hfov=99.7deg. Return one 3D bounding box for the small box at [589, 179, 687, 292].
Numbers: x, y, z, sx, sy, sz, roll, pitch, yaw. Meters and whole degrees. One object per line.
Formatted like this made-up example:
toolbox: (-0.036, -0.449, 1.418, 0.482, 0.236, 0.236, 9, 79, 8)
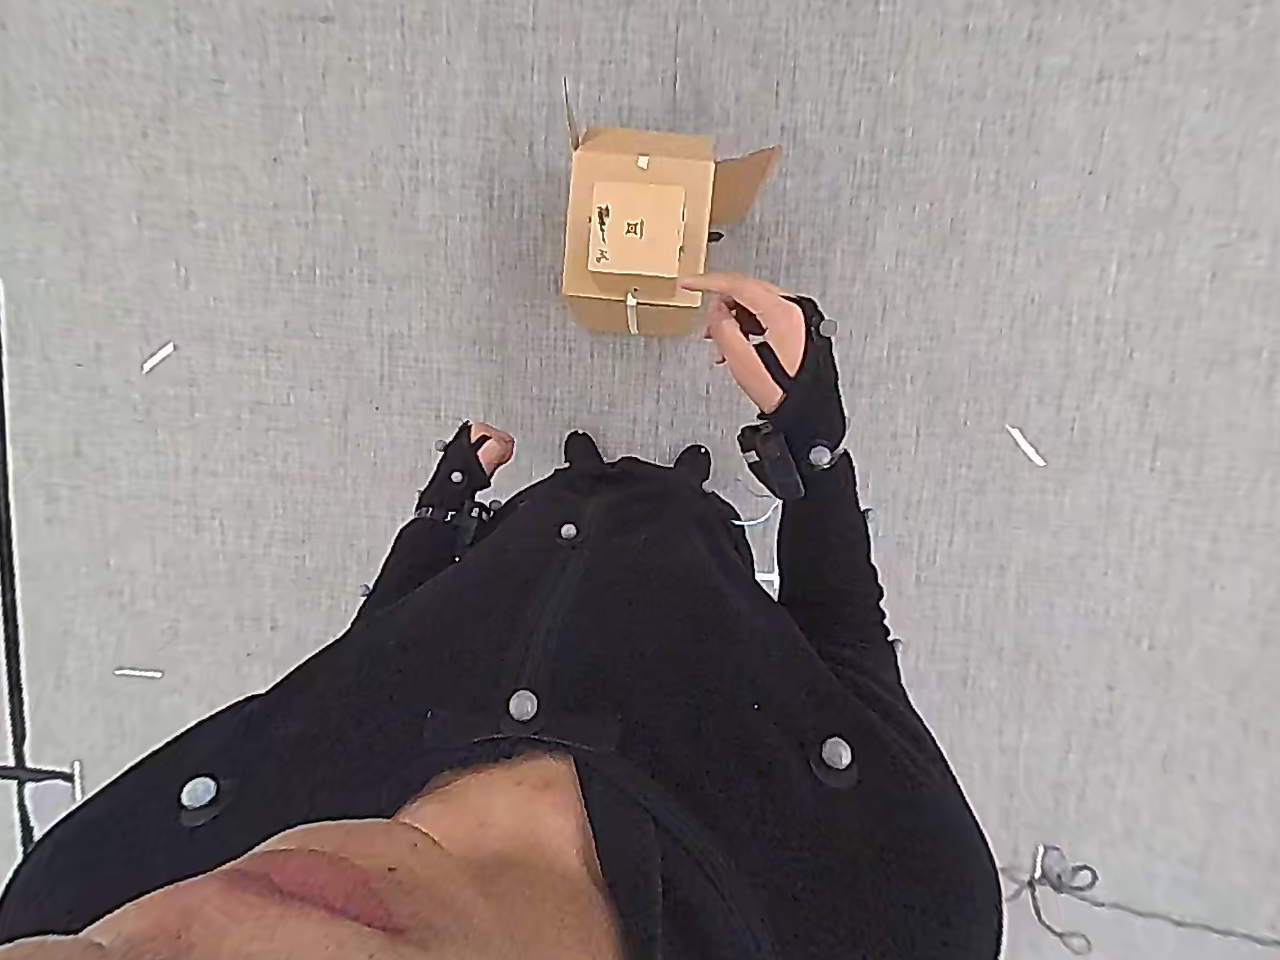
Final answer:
small box: (-0.003, -0.489, 1.108, 0.179, 0.176, 0.168, 6, 98, 1)
